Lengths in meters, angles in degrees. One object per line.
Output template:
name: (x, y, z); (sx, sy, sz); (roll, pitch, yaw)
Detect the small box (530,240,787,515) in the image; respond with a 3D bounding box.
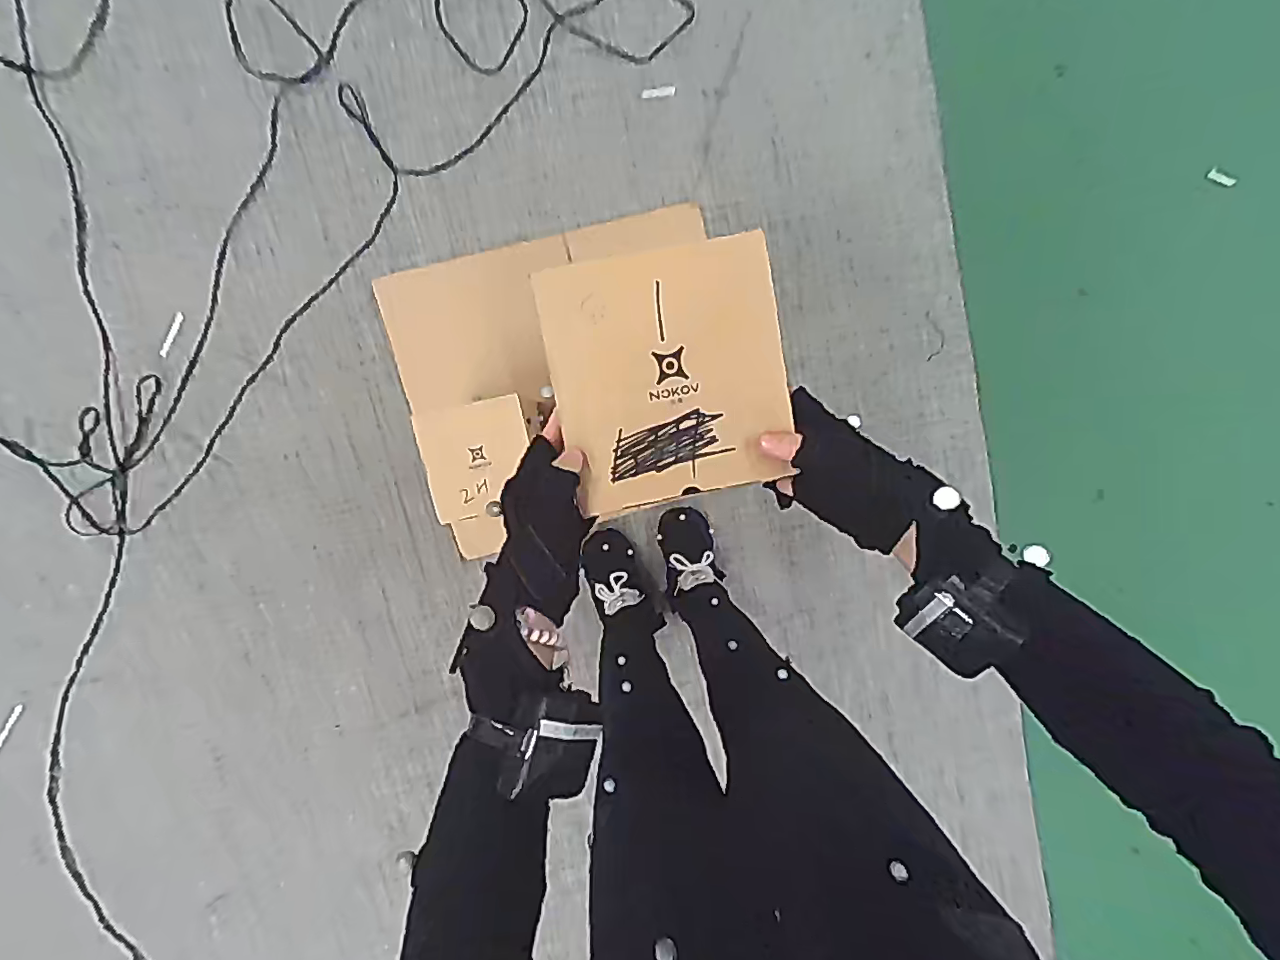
small box: (0.011, -0.083, 0.468); (0.168, 0.176, 0.179); (-11, 98, -4)

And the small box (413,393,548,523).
small box: (-0.255, -0.041, 0.905); (0.168, 0.176, 0.179); (-13, 98, -4)
